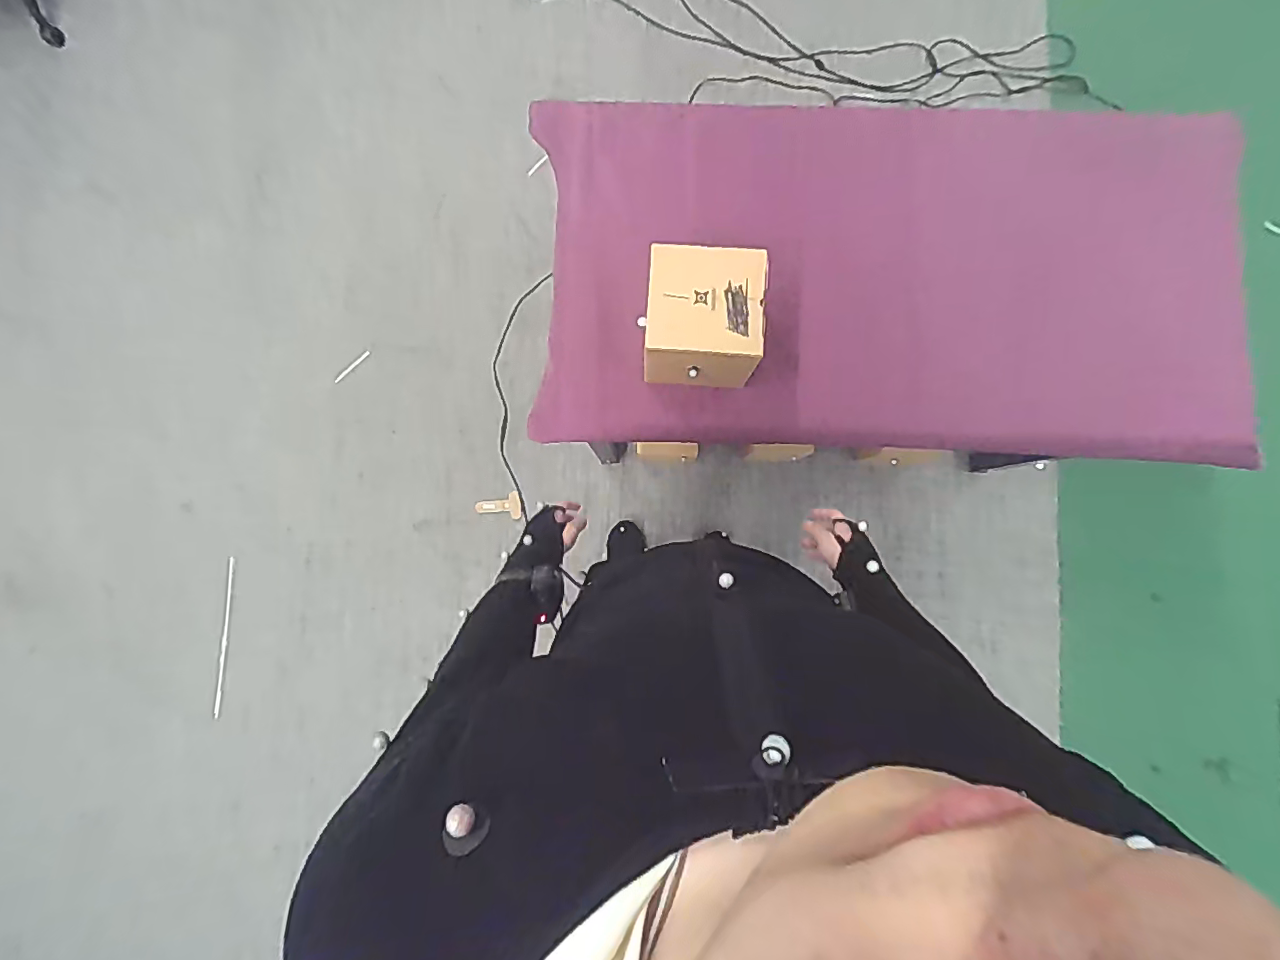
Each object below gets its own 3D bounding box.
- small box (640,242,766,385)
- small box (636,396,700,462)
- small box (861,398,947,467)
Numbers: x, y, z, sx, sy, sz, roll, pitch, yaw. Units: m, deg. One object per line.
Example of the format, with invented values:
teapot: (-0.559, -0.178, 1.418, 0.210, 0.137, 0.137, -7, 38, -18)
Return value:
small box: (0.095, -0.256, 0.867, 0.179, 0.176, 0.168, 4, 83, 3)
small box: (0.082, -0.144, 1.589, 0.179, 0.176, 0.168, 2, 85, 1)
small box: (0.759, -0.133, 1.571, 0.179, 0.176, 0.168, 5, 85, 2)
